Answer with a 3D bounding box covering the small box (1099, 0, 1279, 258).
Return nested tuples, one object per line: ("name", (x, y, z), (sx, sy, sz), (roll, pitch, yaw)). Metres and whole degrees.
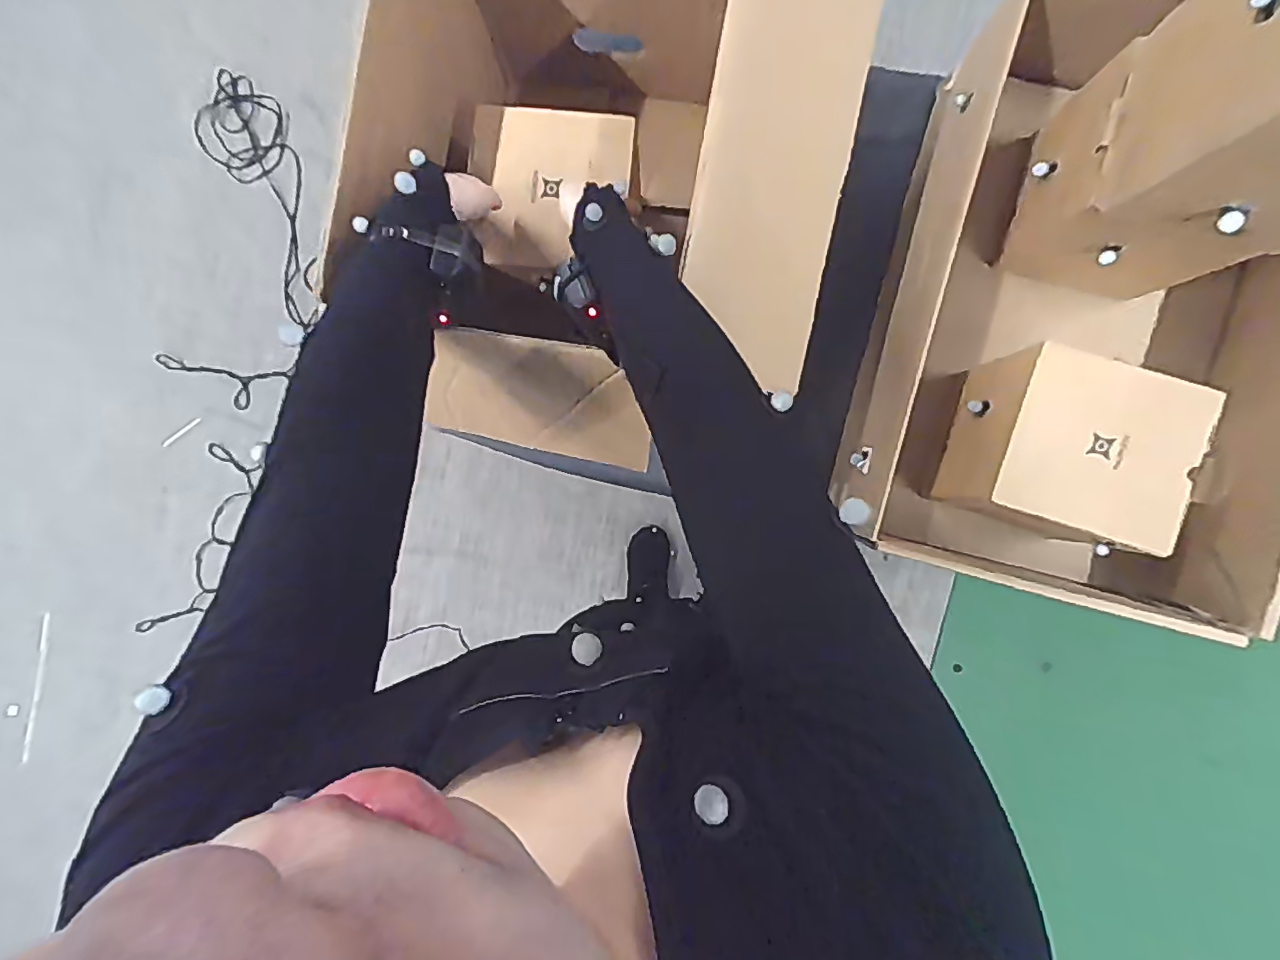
("small box", (0.522, -0.305, 0.427), (0.168, 0.176, 0.179), (14, 94, 3))
